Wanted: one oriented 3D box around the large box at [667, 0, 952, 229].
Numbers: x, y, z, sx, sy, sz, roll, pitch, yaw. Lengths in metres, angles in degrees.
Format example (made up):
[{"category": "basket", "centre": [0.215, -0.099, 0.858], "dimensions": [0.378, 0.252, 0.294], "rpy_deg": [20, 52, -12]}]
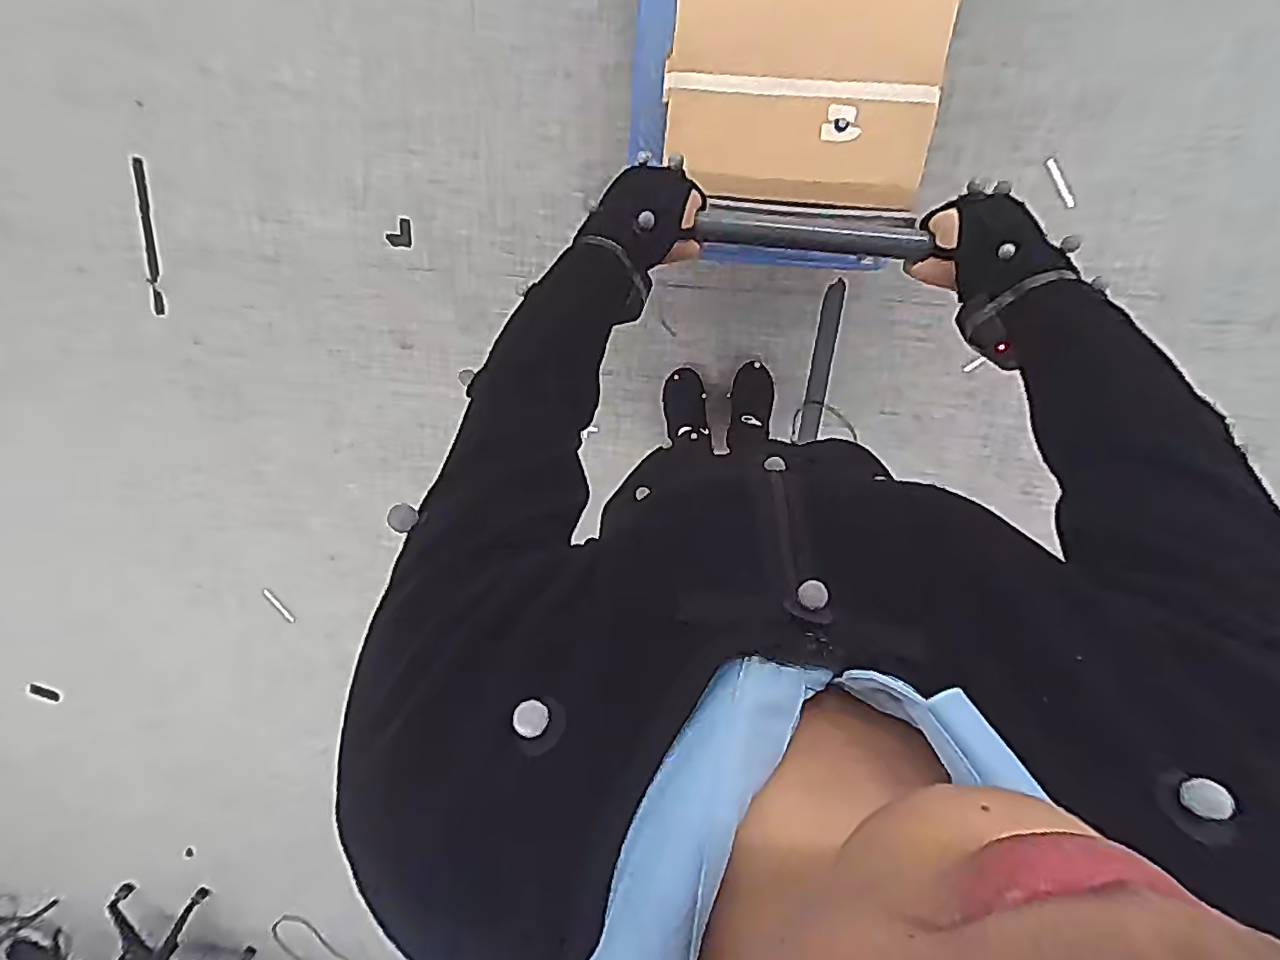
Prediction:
[{"category": "large box", "centre": [0.261, -0.650, 0.976], "dimensions": [0.408, 0.320, 0.320], "rpy_deg": [6, 109, 3]}]
